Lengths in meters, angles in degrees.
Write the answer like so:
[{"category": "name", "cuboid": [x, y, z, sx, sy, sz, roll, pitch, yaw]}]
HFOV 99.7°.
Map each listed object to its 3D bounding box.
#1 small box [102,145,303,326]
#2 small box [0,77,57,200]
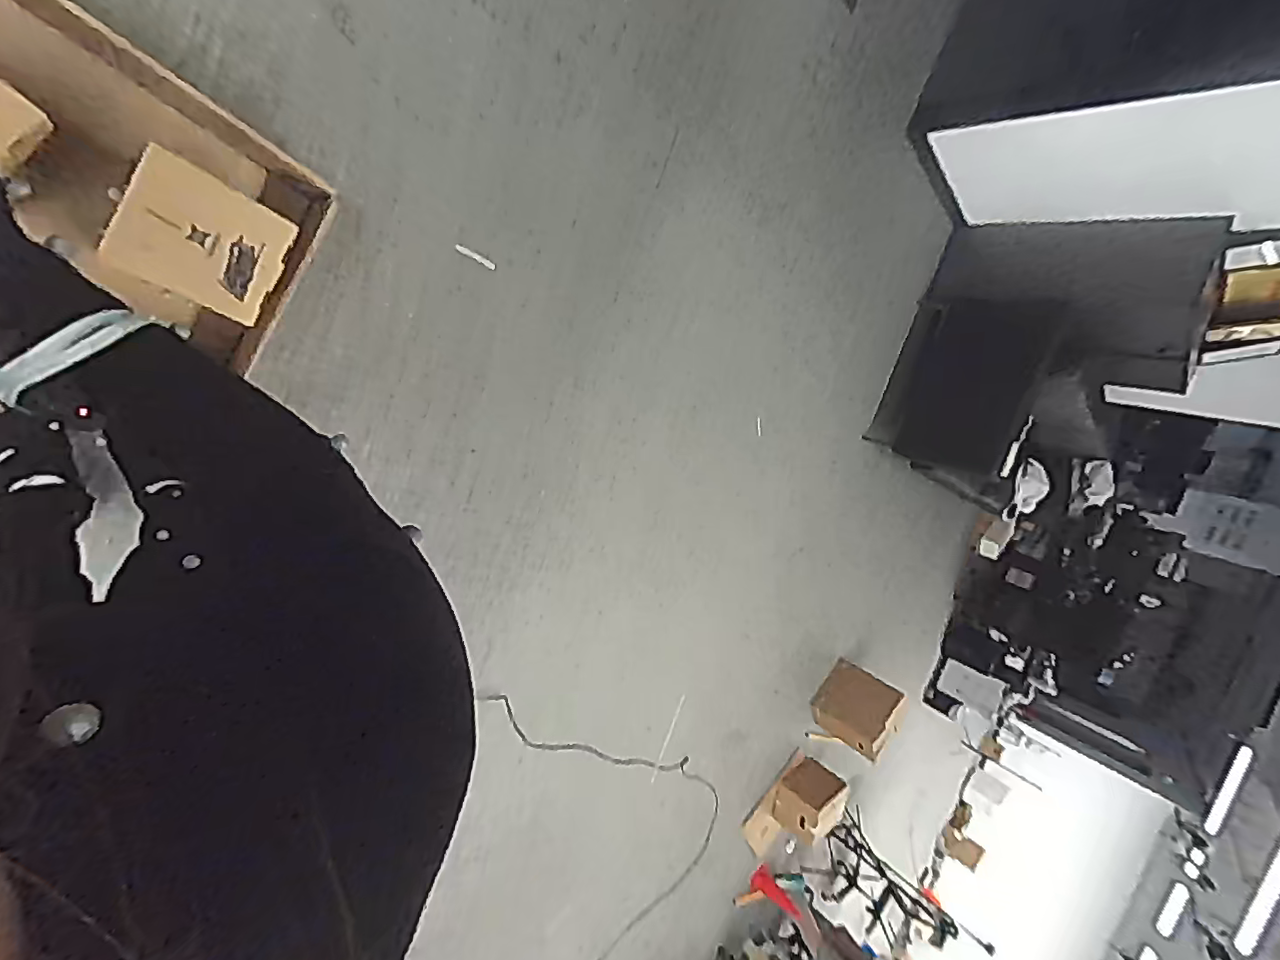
[{"category": "small box", "cuboid": [-0.637, -0.351, 0.795, 0.179, 0.176, 0.168, 25, 90, -44]}, {"category": "small box", "cuboid": [-0.817, -0.416, 0.603, 0.168, 0.176, 0.179, -57, 137, -9]}]
